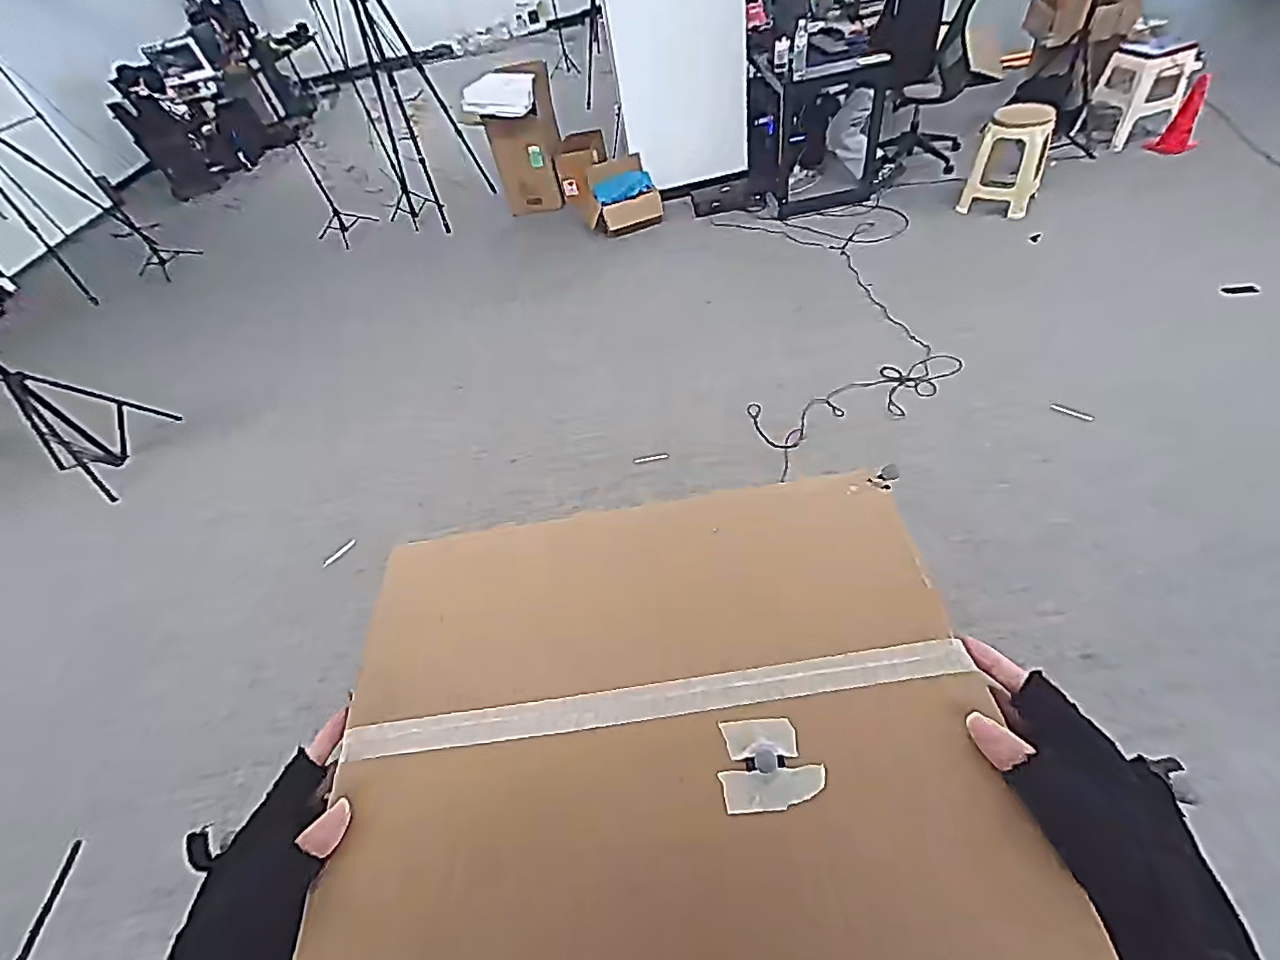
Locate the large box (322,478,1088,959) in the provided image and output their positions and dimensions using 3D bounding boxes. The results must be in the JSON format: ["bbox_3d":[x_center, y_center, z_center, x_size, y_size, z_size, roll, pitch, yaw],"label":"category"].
[{"bbox_3d":[0.028,0.240,0.475,0.408,0.320,0.320,-9,51,3],"label":"large box"}]
